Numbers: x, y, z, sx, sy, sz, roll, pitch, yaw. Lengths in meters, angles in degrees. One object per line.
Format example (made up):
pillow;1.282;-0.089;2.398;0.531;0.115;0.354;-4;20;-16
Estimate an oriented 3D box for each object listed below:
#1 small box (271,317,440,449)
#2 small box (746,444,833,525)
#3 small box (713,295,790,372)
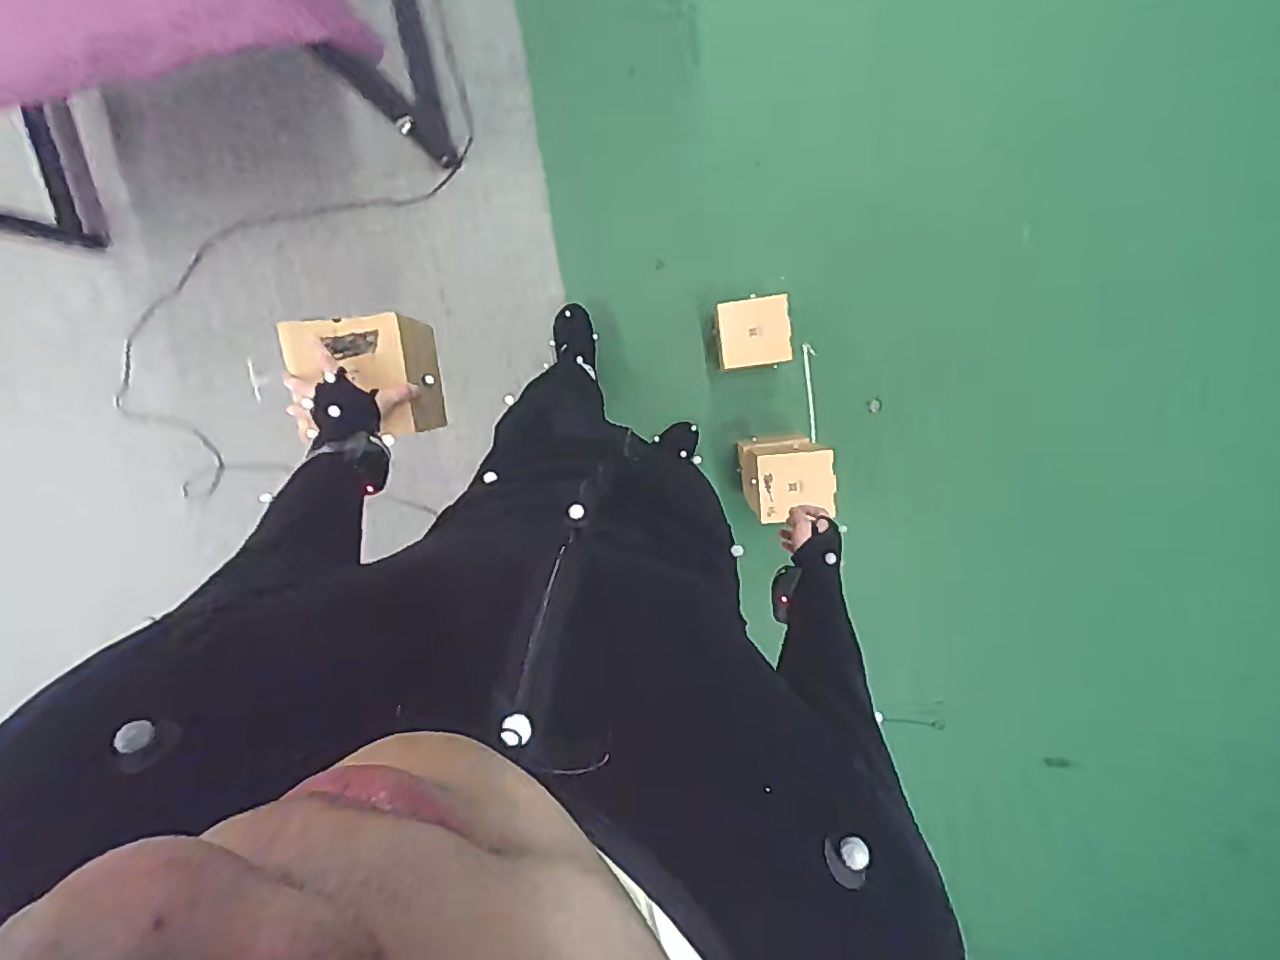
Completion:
small box;-0.431;-0.149;0.849;0.168;0.176;0.179;-7;101;-3
small box;0.363;0.006;1.335;0.179;0.176;0.168;-4;100;5
small box;0.291;-0.384;1.442;0.179;0.176;0.168;-7;99;5
